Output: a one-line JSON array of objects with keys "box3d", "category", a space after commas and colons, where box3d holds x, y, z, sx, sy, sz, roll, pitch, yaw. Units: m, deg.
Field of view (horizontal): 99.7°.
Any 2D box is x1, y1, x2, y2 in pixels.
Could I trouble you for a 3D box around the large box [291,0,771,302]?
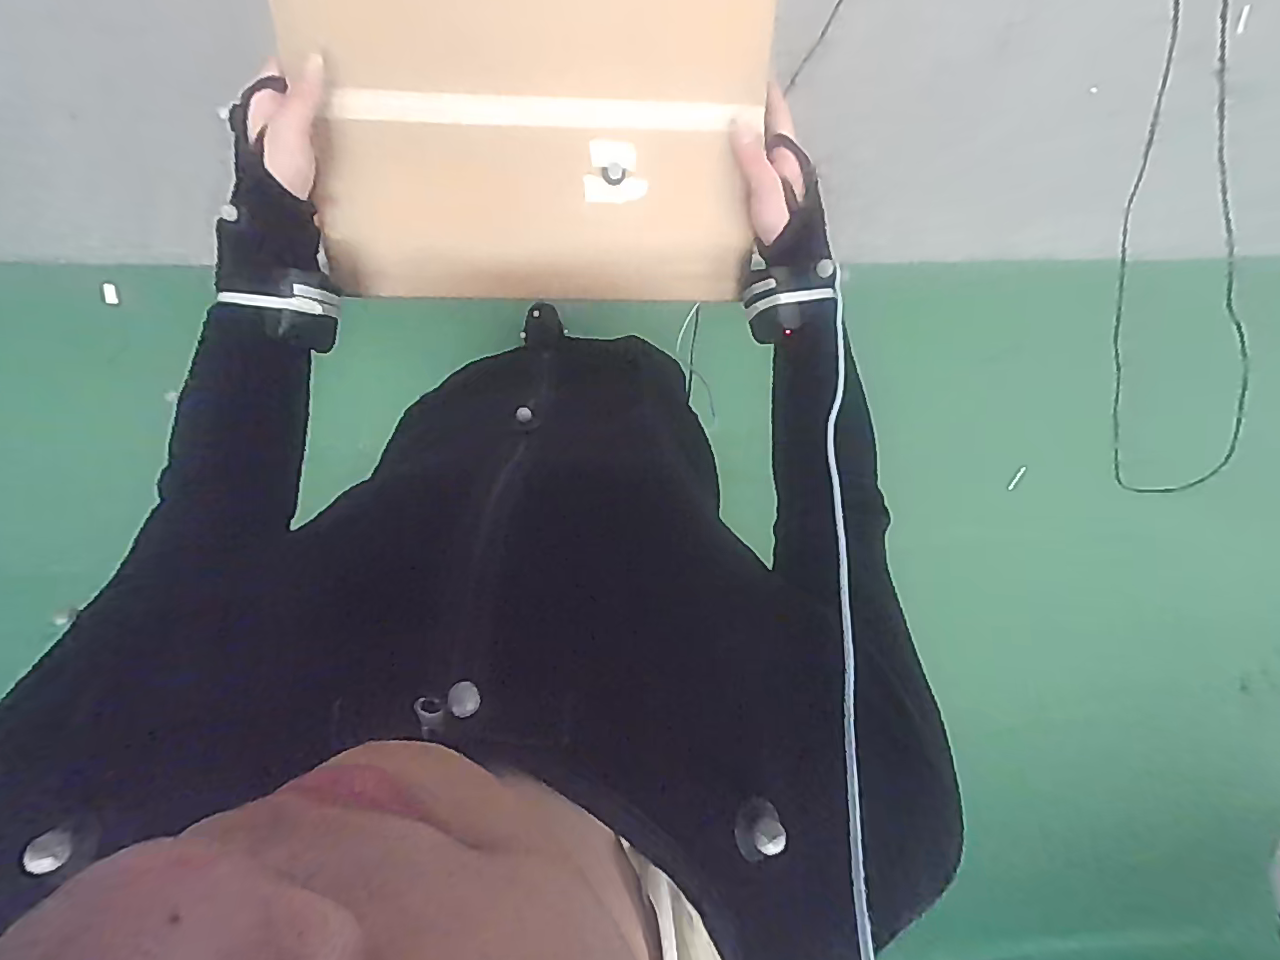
[{"box3d": [-0.101, -0.384, 0.620, 0.408, 0.320, 0.320, -1, 115, -6], "category": "large box"}]
